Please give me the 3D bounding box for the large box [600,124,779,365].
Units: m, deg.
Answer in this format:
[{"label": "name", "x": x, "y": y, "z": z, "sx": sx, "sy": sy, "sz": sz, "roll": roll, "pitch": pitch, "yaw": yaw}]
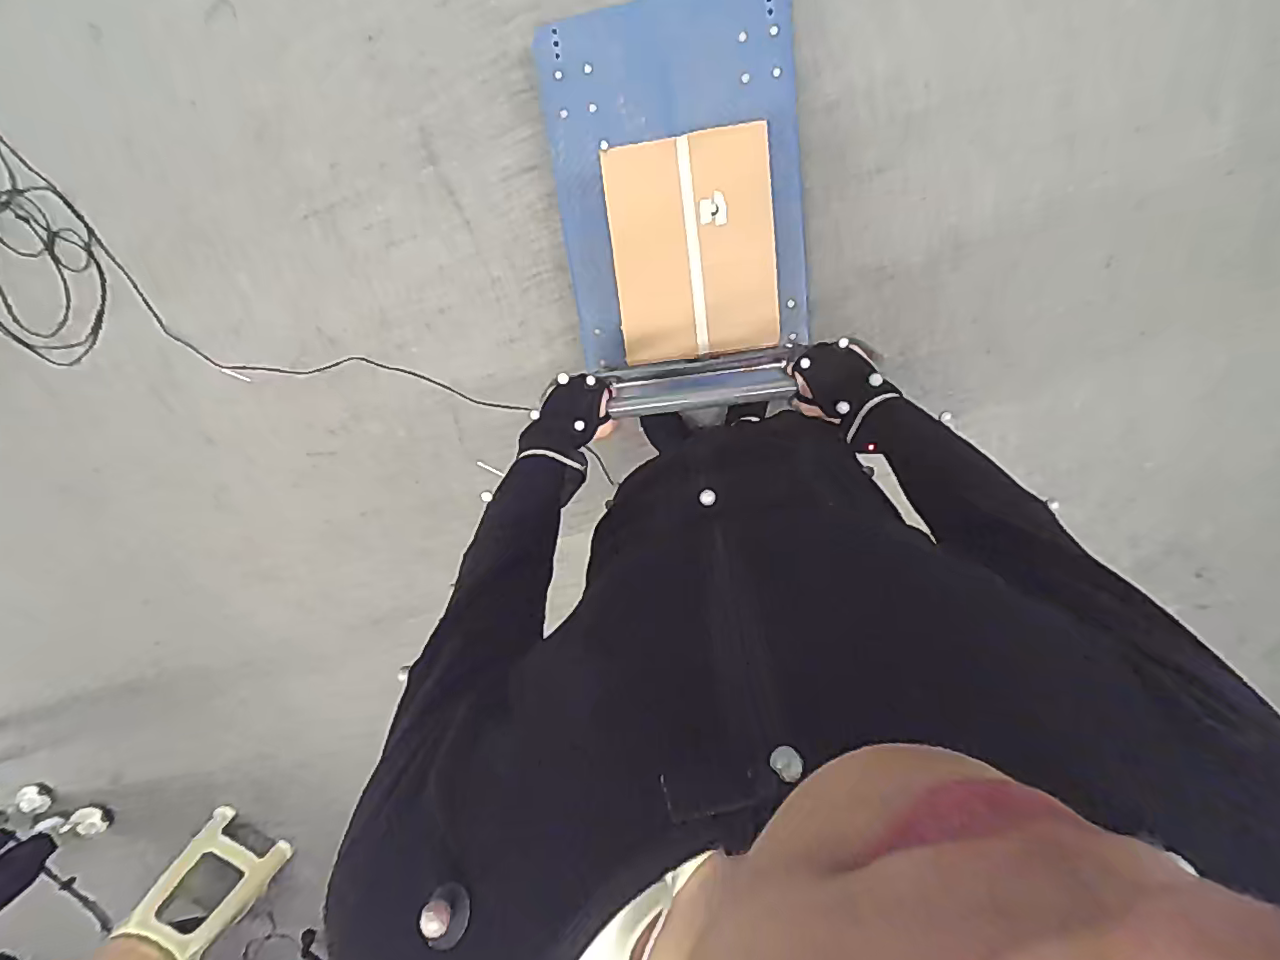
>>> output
[{"label": "large box", "x": 0.115, "y": -0.478, "z": 1.192, "sx": 0.320, "sy": 0.320, "sz": 0.408, "roll": -6, "pitch": 103, "yaw": 6}]
